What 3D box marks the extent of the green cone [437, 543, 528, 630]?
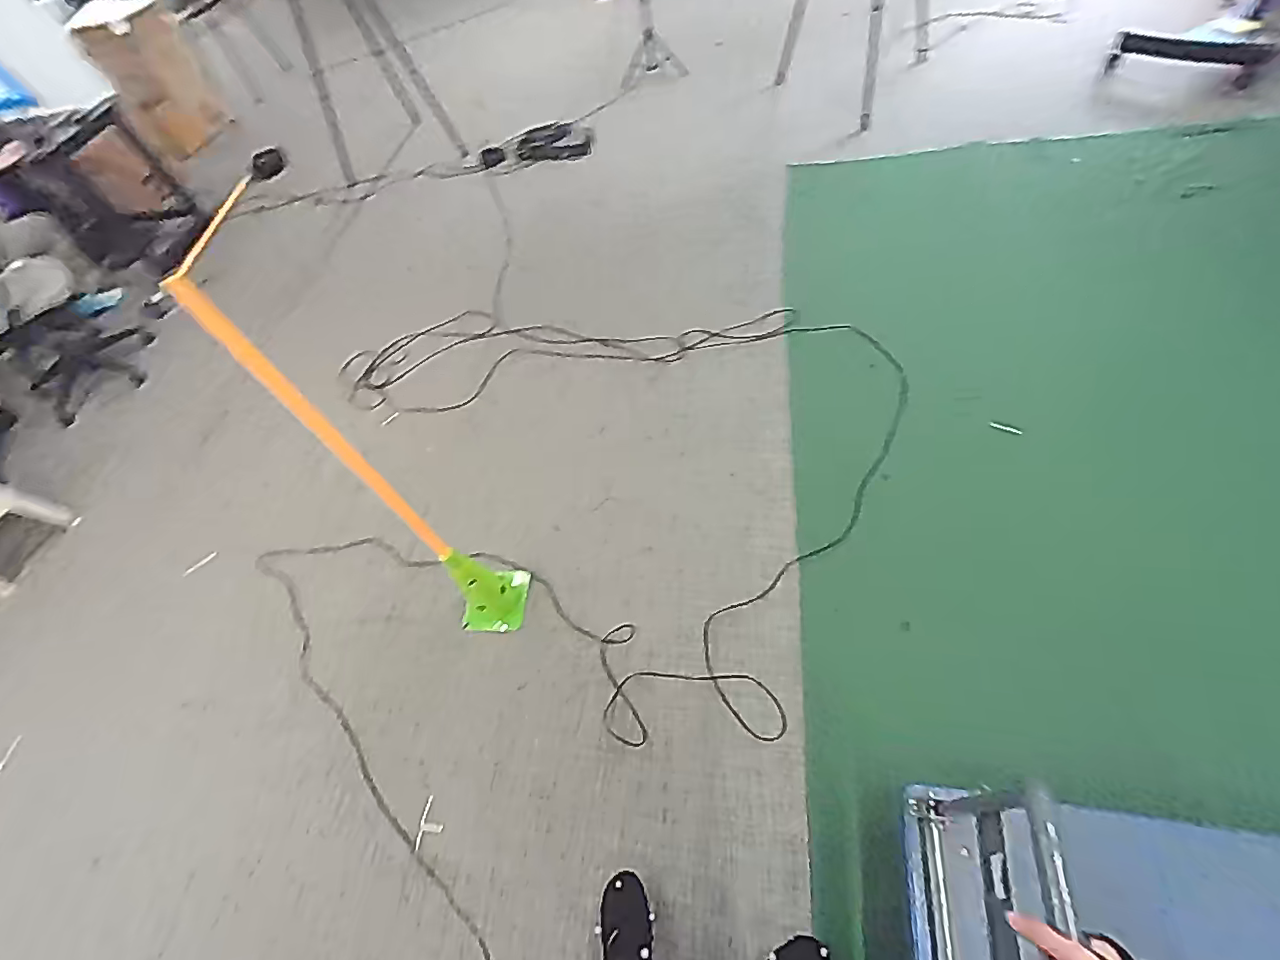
[{"bbox_3d":[-0.504,0.295,1.623,0.200,0.368,0.202,-3,55,10],"label":"green cone"}]
